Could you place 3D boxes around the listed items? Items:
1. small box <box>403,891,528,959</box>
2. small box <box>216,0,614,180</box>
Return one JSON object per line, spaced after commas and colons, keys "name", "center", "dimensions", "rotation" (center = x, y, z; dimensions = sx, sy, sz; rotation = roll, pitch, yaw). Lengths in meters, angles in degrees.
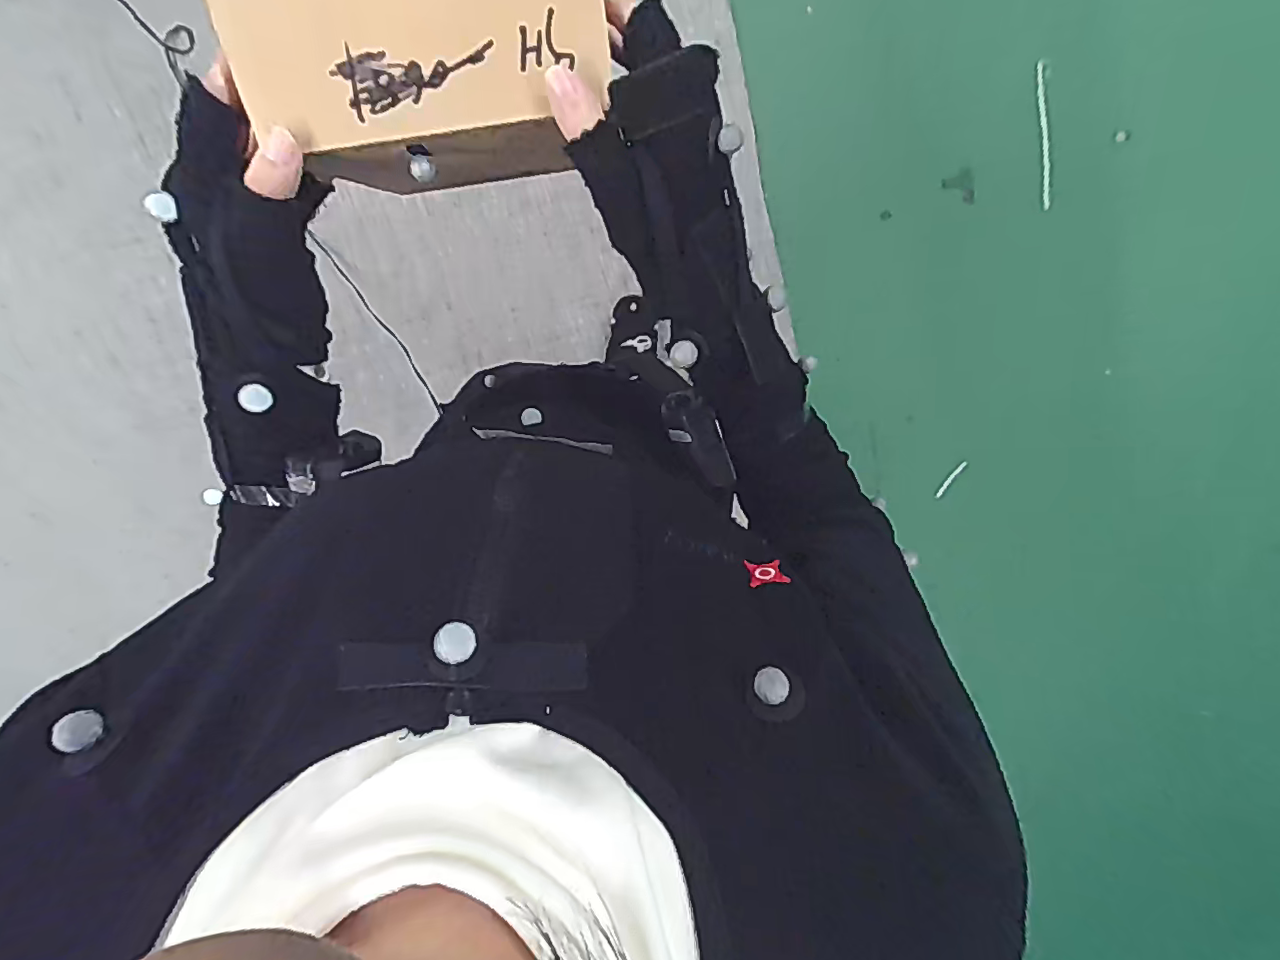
{"name": "small box", "center": [-0.308, 0.861, 0.944], "dimensions": [0.168, 0.176, 0.179], "rotation": [-14, 104, 2]}
{"name": "small box", "center": [-0.108, -0.281, 0.289], "dimensions": [0.168, 0.176, 0.179], "rotation": [-8, 111, 0]}
